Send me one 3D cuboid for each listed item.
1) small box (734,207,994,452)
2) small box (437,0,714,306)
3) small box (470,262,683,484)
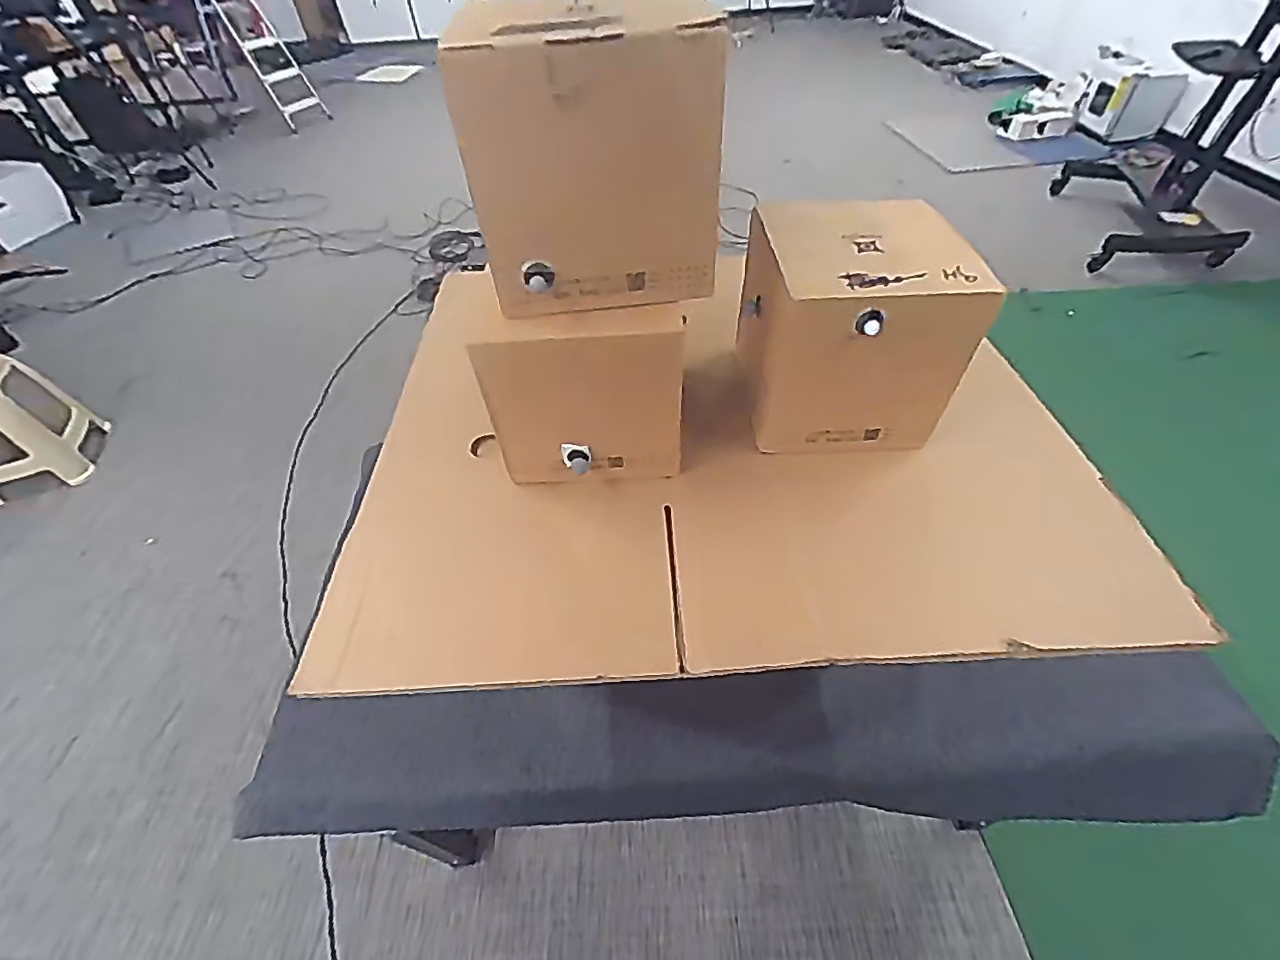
[{"bbox_3d":[0.191,-0.147,0.529,0.168,0.176,0.179,-2,48,0],"label":"small box"},{"bbox_3d":[-0.039,-0.250,0.422,0.168,0.176,0.179,-6,48,-2],"label":"small box"},{"bbox_3d":[-0.049,-0.117,0.525,0.168,0.176,0.179,-4,50,1],"label":"small box"}]
